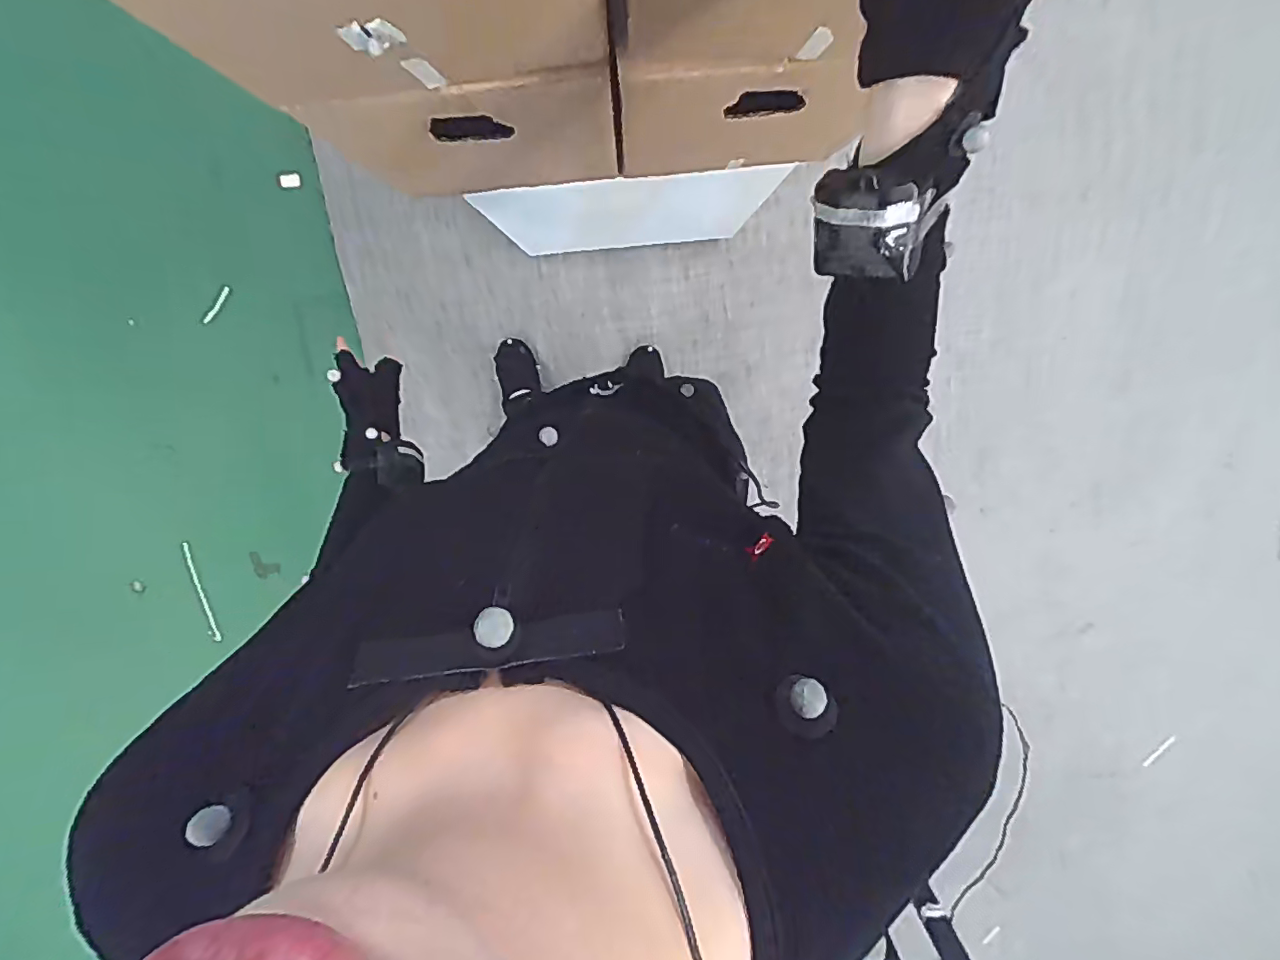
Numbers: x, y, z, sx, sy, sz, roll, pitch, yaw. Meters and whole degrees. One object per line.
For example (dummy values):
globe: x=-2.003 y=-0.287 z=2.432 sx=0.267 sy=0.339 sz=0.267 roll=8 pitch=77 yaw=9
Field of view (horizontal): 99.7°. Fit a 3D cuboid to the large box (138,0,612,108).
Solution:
large box: x=-0.203 y=-0.516 z=0.302 sx=0.320 sy=0.320 sz=0.408 roll=-7 pitch=102 yaw=1
